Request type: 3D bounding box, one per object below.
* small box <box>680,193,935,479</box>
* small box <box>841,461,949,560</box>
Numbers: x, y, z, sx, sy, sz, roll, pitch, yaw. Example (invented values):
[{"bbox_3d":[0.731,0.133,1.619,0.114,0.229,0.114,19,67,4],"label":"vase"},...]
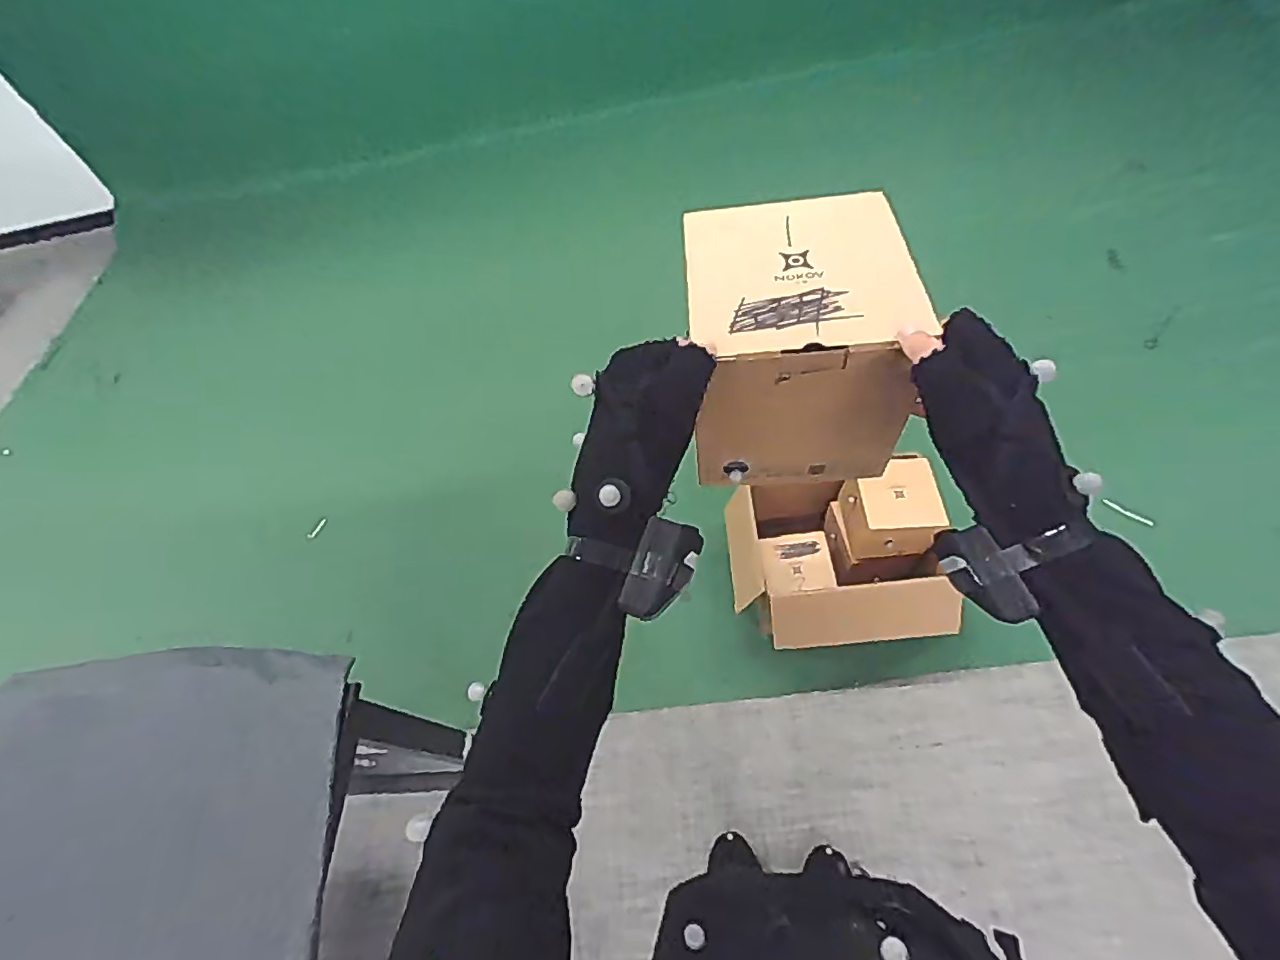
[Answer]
[{"bbox_3d":[0.123,-0.111,0.466,0.168,0.176,0.179,-3,56,7],"label":"small box"},{"bbox_3d":[0.577,0.077,1.247,0.168,0.176,0.179,-4,57,6],"label":"small box"}]
